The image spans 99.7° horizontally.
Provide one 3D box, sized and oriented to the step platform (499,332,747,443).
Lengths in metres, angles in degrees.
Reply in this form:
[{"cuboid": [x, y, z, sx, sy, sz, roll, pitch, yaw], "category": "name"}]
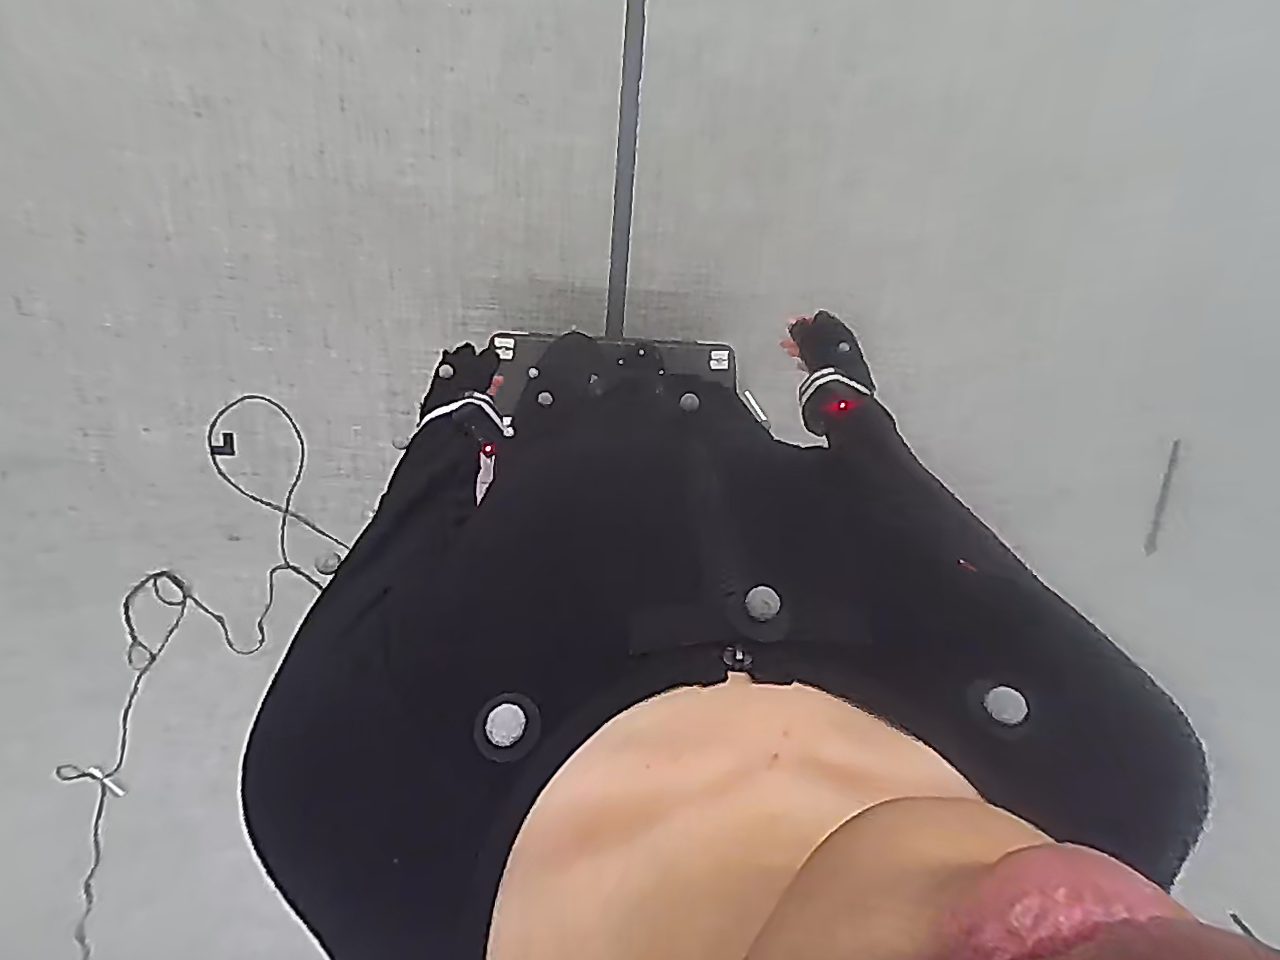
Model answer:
[{"cuboid": [-0.046, -0.259, 1.522, 0.684, 0.204, 0.286, 1, 103, -4], "category": "step platform"}]
